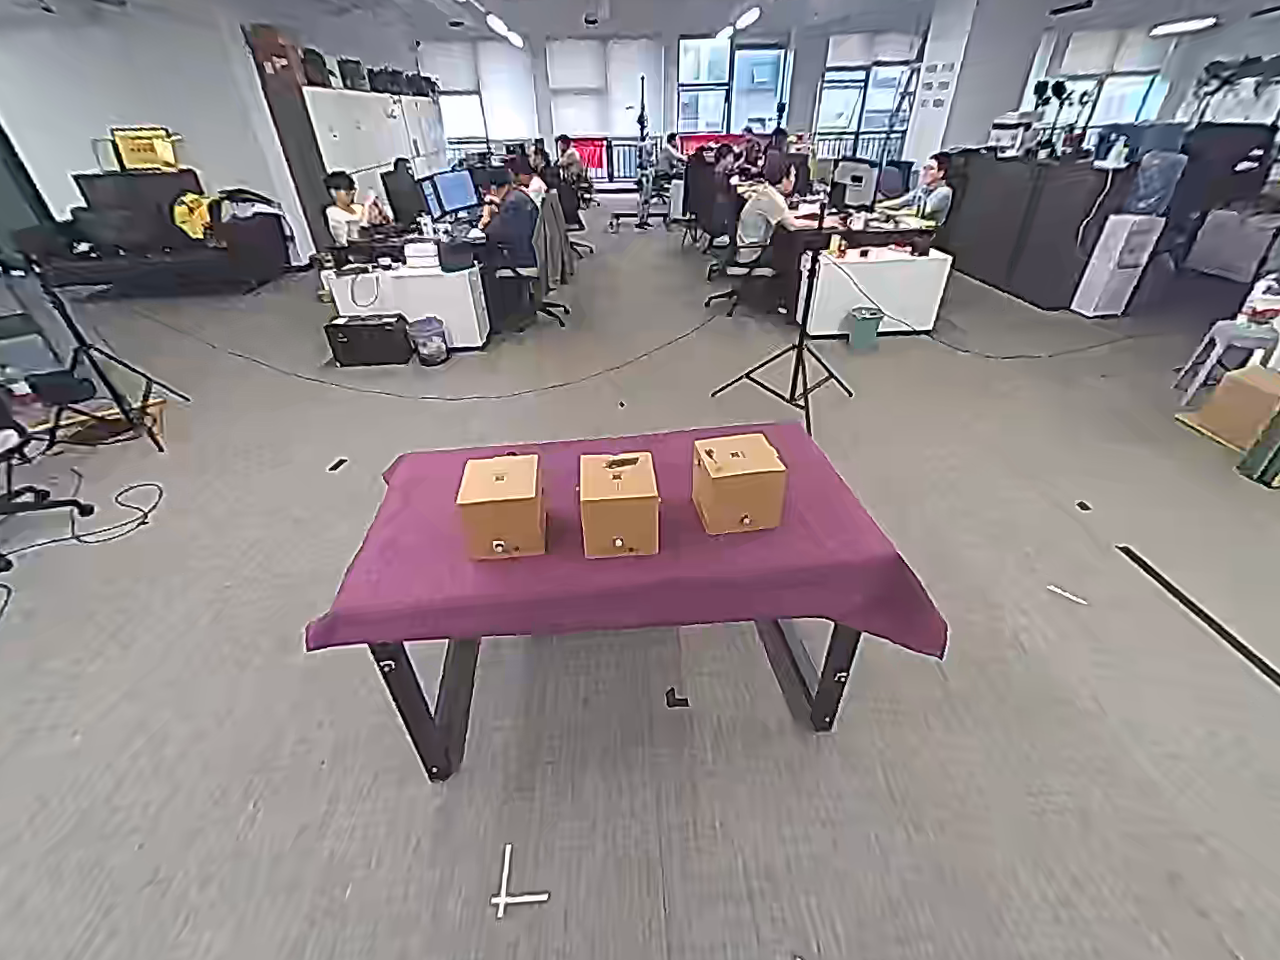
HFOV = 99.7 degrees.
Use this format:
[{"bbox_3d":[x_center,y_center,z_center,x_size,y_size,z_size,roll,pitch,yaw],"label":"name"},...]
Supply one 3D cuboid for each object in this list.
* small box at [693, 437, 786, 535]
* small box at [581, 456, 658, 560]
[{"bbox_3d":[0.230,0.014,1.303,0.179,0.176,0.168,-6,34,-7],"label":"small box"},{"bbox_3d":[-0.048,0.061,1.242,0.168,0.176,0.179,-4,34,-3],"label":"small box"}]
